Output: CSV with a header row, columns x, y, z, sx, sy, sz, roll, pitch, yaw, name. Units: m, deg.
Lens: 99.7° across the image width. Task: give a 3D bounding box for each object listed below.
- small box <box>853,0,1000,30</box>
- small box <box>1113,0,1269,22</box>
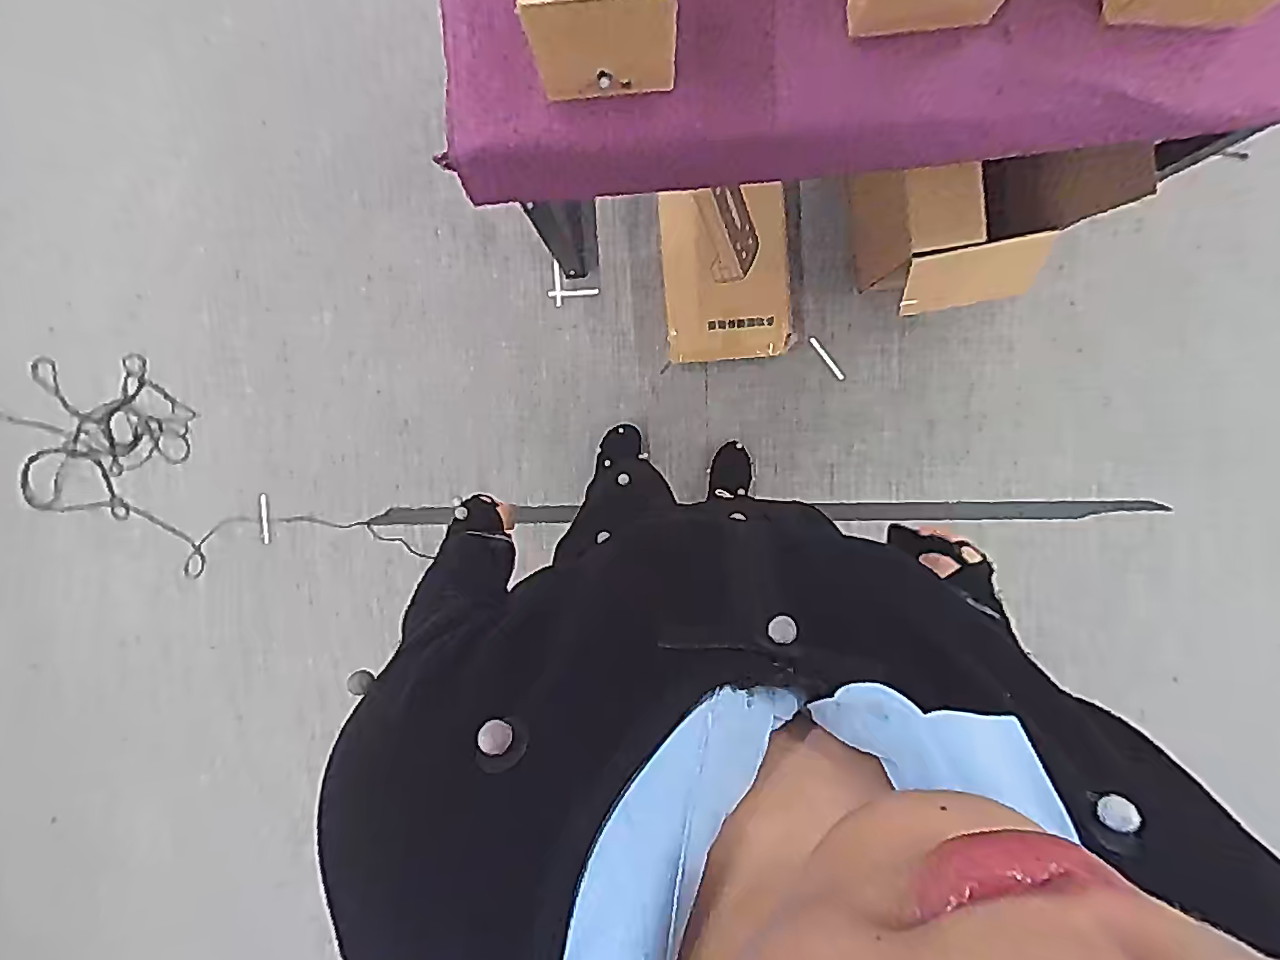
x,y,z,sx,sy,sz,roll,pitch,yaw,name
0.349,-0.643,0.591,0.179,0.176,0.168,-4,93,3,small box
0.667,-0.639,0.580,0.179,0.176,0.168,3,96,2,small box
